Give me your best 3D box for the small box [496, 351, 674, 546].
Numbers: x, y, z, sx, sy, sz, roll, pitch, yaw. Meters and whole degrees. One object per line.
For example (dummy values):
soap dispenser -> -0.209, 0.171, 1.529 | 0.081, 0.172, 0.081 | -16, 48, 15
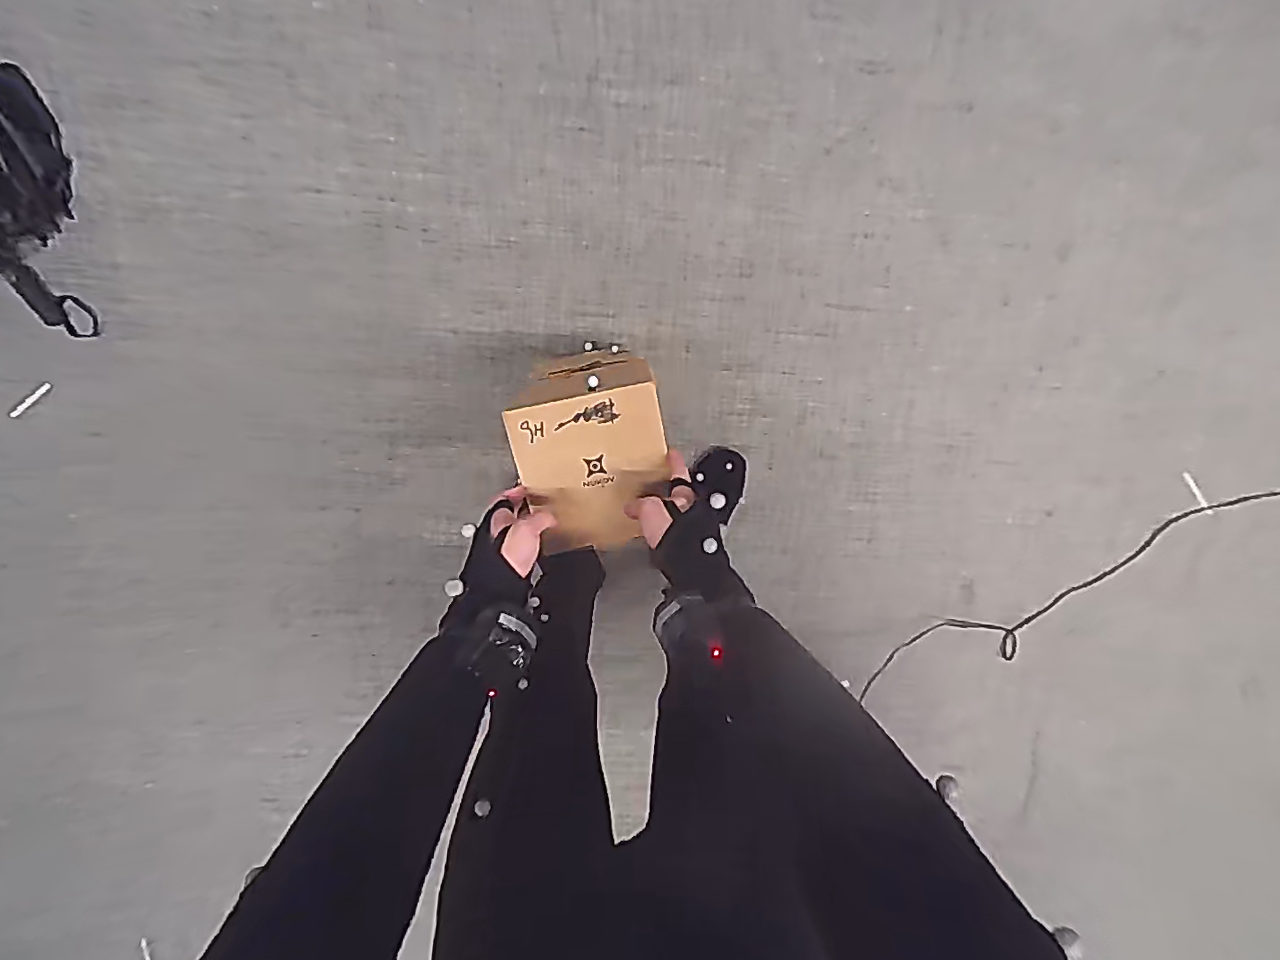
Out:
small box -> -0.055, -0.045, 0.659 | 0.168, 0.176, 0.179 | -11, 112, 3

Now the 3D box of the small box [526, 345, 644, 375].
small box -> -0.070, -0.108, 0.834 | 0.168, 0.176, 0.179 | -10, 109, -1

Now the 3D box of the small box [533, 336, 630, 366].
small box -> -0.087, -0.159, 0.990 | 0.168, 0.176, 0.179 | -12, 107, -1
